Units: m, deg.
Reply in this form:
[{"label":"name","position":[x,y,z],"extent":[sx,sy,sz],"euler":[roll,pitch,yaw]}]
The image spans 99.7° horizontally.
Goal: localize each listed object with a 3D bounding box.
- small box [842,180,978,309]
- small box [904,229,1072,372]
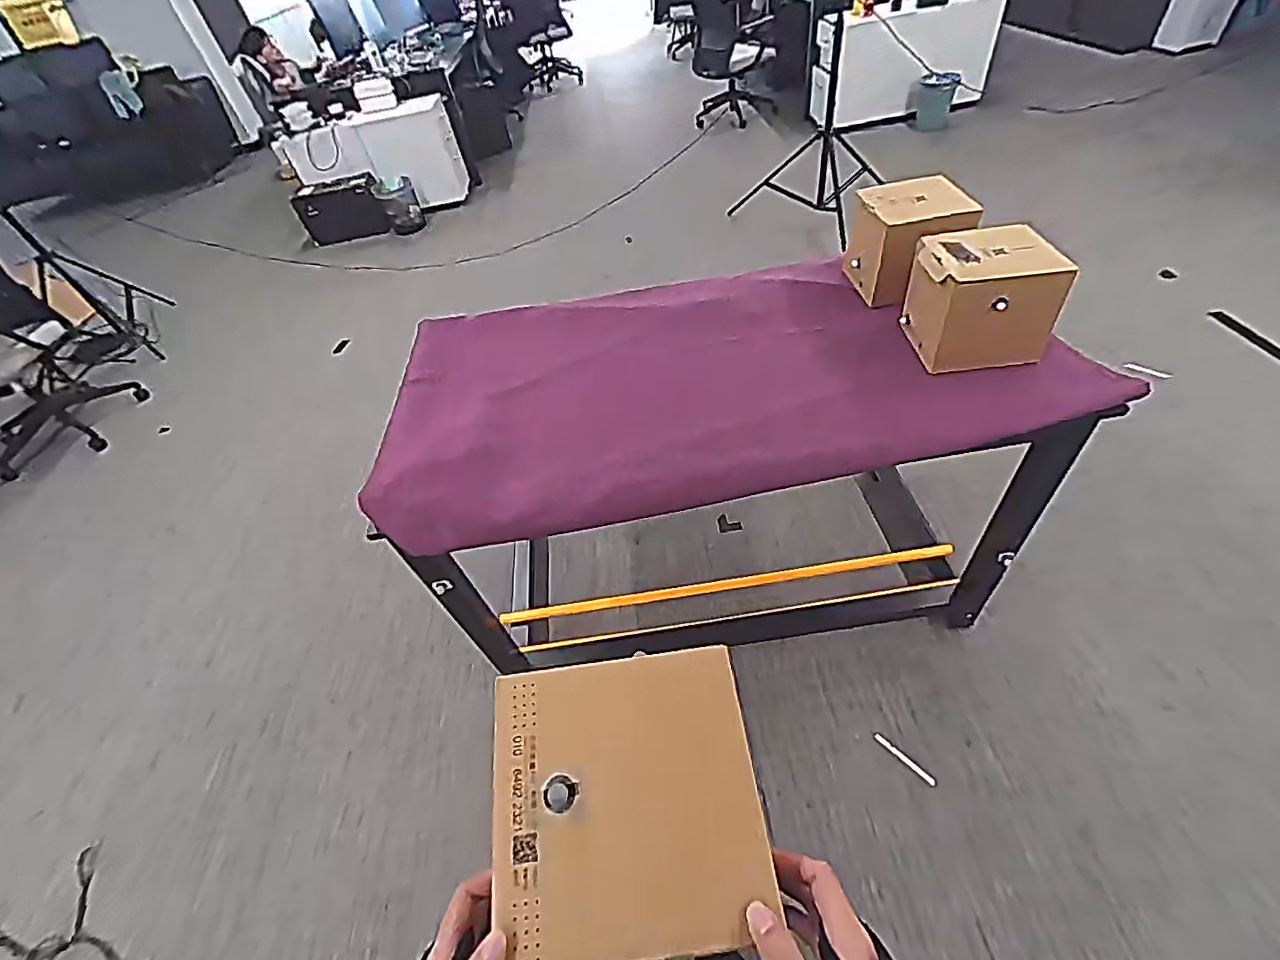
[{"label":"small box","position":[0.525,-0.467,1.080],"extent":[0.179,0.176,0.168],"euler":[-10,48,2]},{"label":"small box","position":[0.568,-0.300,0.919],"extent":[0.179,0.176,0.168],"euler":[-5,46,6]}]
